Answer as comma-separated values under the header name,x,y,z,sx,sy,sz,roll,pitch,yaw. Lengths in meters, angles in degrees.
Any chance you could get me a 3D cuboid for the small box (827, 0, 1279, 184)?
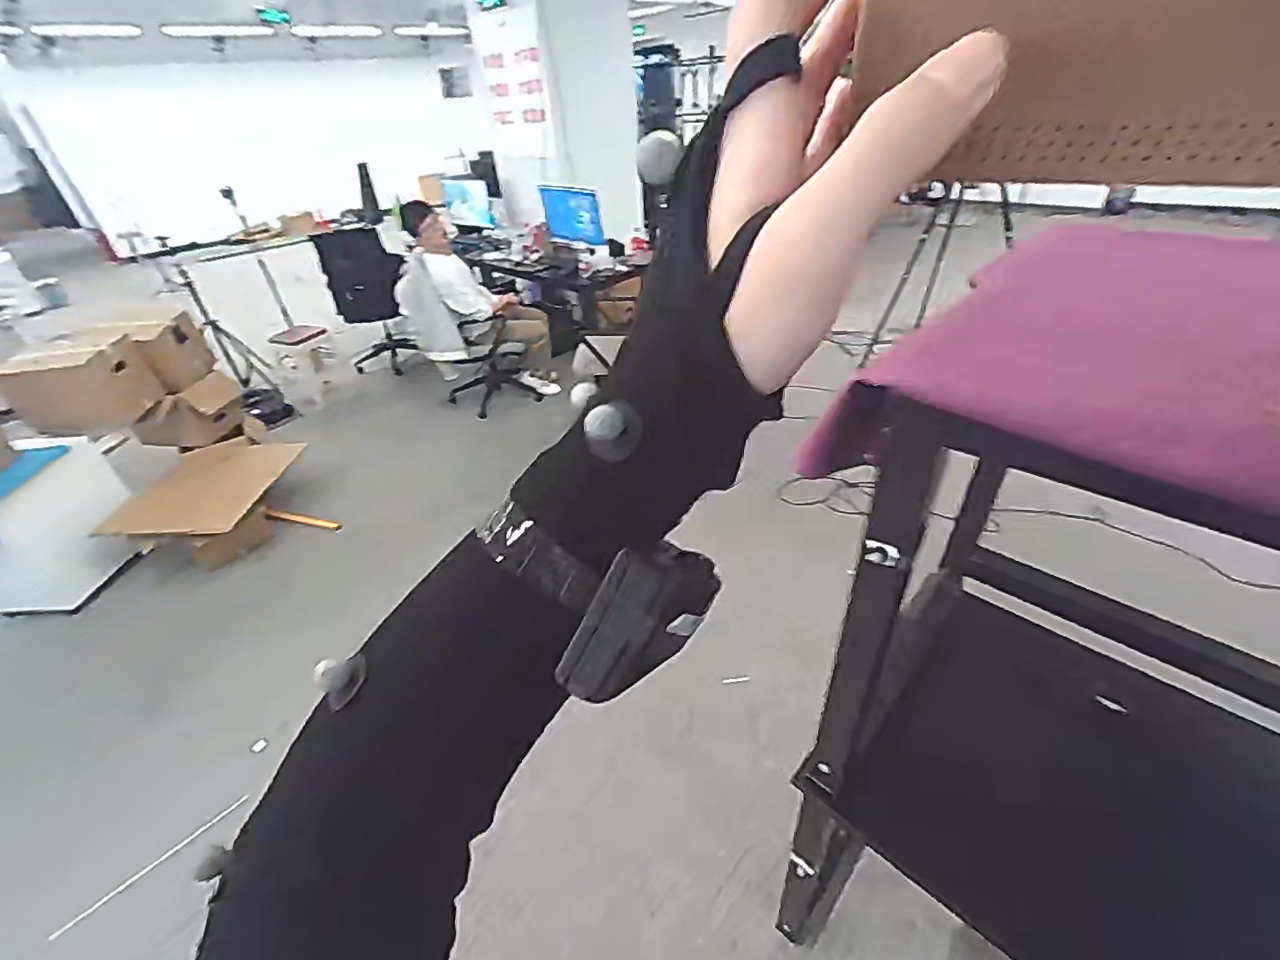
name,x,y,z,sx,sy,sz,roll,pitch,yaw
small box,0.156,-0.211,0.149,0.179,0.176,0.168,10,78,16
